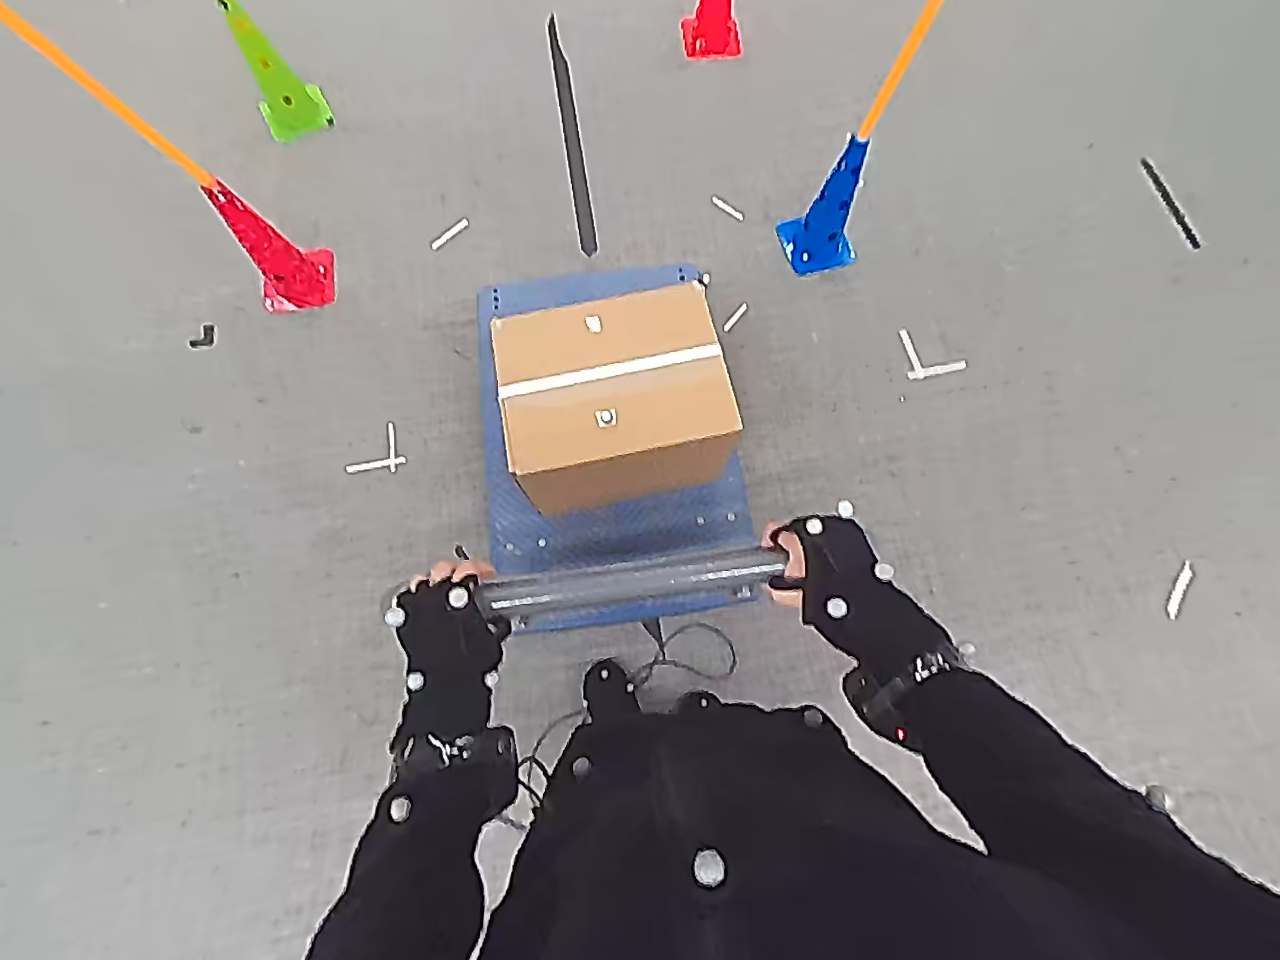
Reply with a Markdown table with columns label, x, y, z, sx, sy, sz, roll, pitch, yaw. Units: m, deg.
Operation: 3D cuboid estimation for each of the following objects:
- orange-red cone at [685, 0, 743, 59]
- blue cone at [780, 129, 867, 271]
| label | x | y | z | sx | sy | sz | roll | pitch | yaw |
| --- | --- | --- | --- | --- | --- | --- | --- | --- | --- |
| orange-red cone | 0.262 | -1.605 | 1.738 | 0.199 | 0.360 | 0.198 | -3 | 73 | -2 |
| blue cone | 0.539 | -0.773 | 1.490 | 0.193 | 0.380 | 0.192 | -13 | 72 | -5 |
